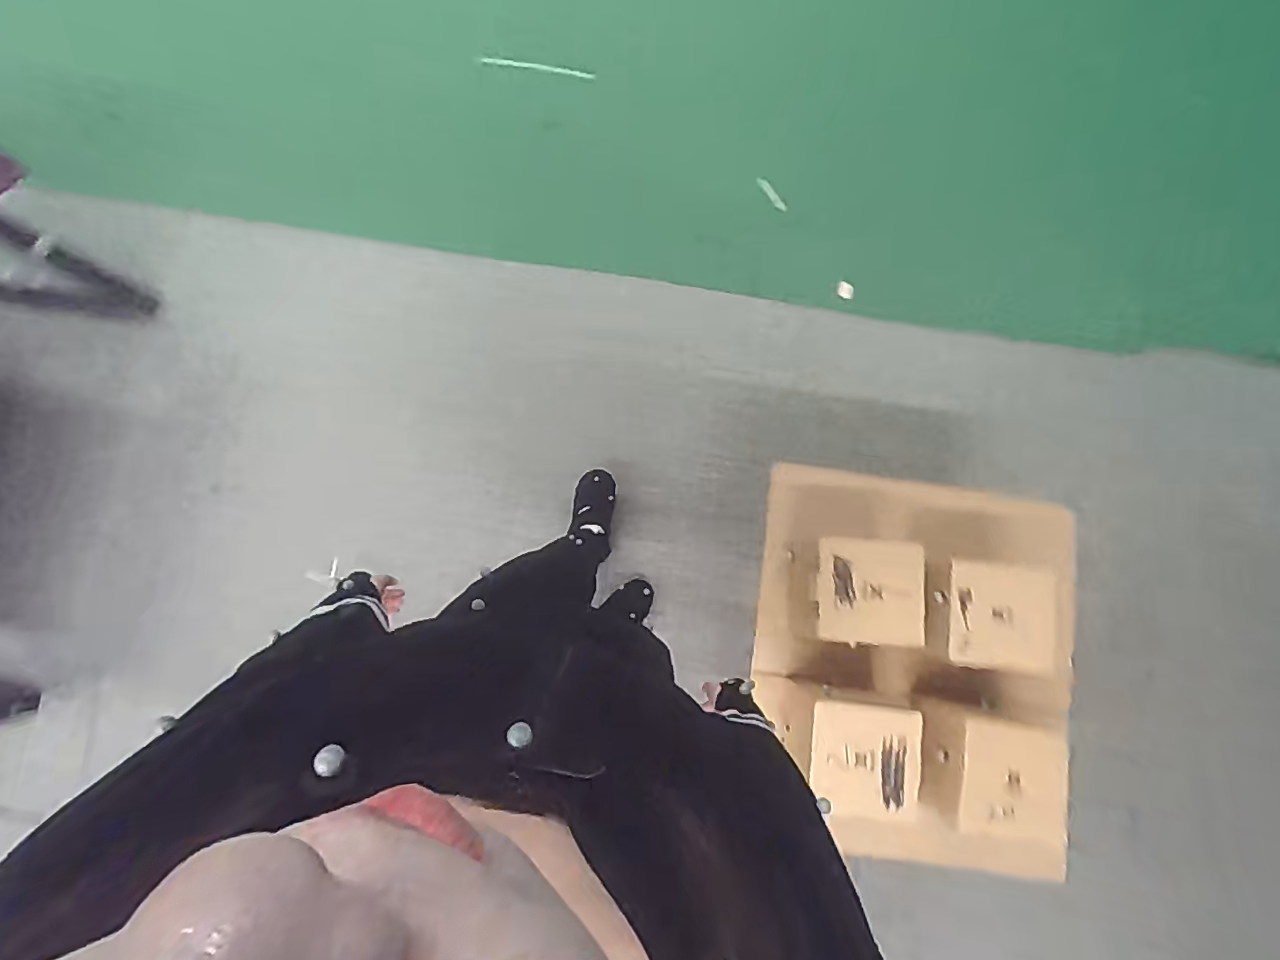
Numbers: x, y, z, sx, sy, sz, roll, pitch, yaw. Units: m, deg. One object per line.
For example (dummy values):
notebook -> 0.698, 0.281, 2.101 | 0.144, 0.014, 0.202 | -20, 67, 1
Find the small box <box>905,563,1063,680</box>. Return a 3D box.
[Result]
small box -> 0.589, 0.238, 0.946 | 0.179, 0.176, 0.168 | 8, 81, -1

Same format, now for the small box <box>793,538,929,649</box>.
small box -> 0.378, 0.193, 0.950 | 0.179, 0.176, 0.168 | 4, 83, 0
